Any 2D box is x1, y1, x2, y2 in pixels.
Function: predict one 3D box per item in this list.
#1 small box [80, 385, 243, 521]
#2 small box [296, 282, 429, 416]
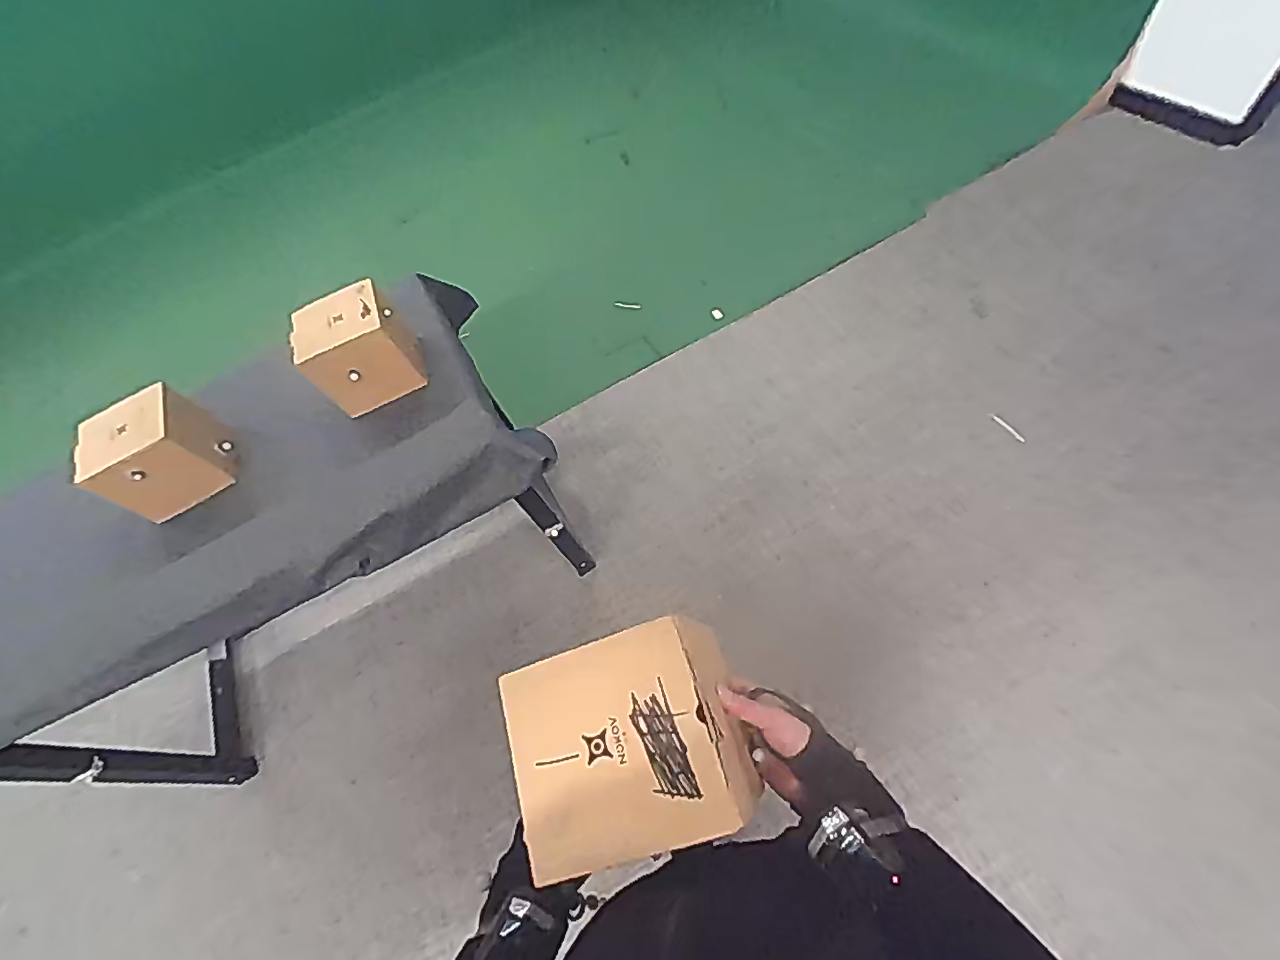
[{"bbox_3d":[-0.943,-0.047,1.077,0.179,0.176,0.168,-30,59,-6],"label":"small box"},{"bbox_3d":[-0.563,-0.260,1.104,0.179,0.176,0.168,-26,58,-1],"label":"small box"}]
